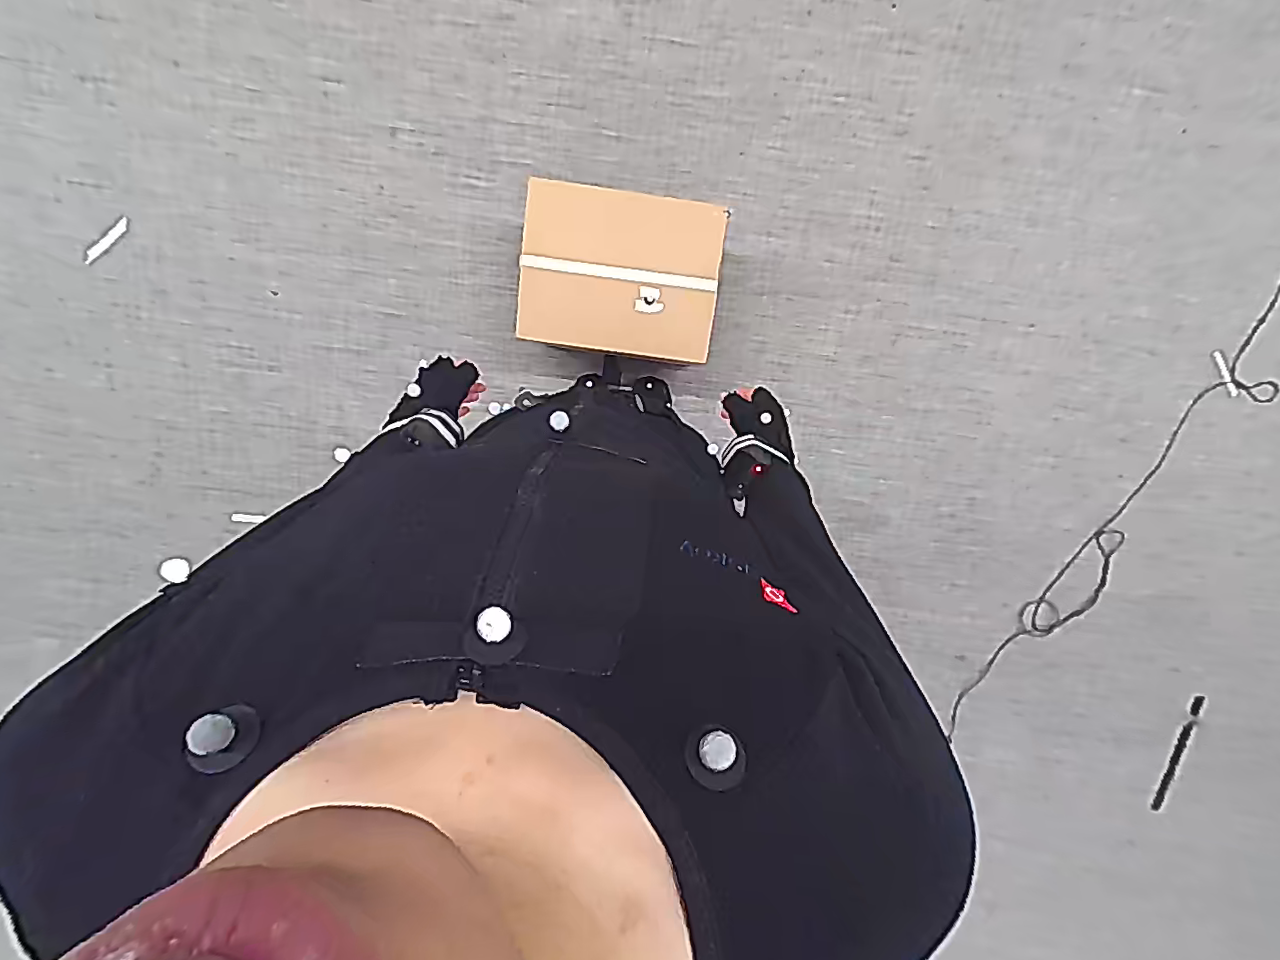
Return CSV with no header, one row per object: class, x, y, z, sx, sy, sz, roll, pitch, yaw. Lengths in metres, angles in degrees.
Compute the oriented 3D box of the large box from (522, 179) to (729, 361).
large box,-0.038,-0.453,1.246,0.408,0.320,0.320,7,102,-2
